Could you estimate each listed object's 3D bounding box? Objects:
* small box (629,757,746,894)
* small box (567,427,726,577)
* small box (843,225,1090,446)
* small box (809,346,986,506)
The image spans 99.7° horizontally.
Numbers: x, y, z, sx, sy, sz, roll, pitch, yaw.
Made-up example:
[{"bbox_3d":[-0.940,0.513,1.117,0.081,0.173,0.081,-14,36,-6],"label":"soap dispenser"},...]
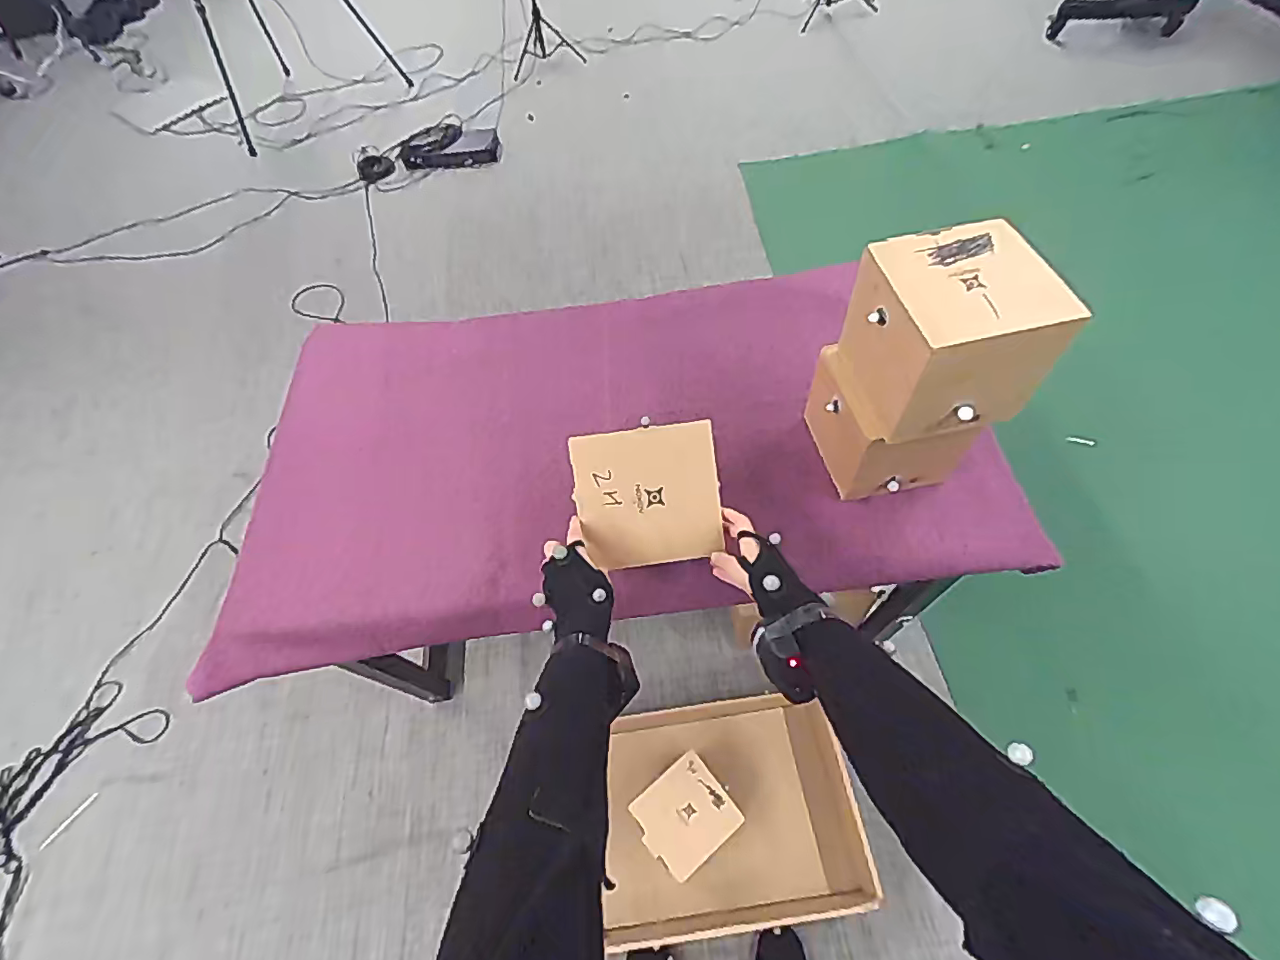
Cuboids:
[{"bbox_3d":[0.102,0.713,1.126,0.179,0.176,0.168,-35,61,-15],"label":"small box"},{"bbox_3d":[0.007,0.021,0.725,0.179,0.176,0.168,-8,93,0],"label":"small box"},{"bbox_3d":[0.362,-0.168,0.647,0.168,0.176,0.179,-12,57,1],"label":"small box"},{"bbox_3d":[0.361,-0.087,0.792,0.168,0.176,0.179,-12,57,1],"label":"small box"}]
